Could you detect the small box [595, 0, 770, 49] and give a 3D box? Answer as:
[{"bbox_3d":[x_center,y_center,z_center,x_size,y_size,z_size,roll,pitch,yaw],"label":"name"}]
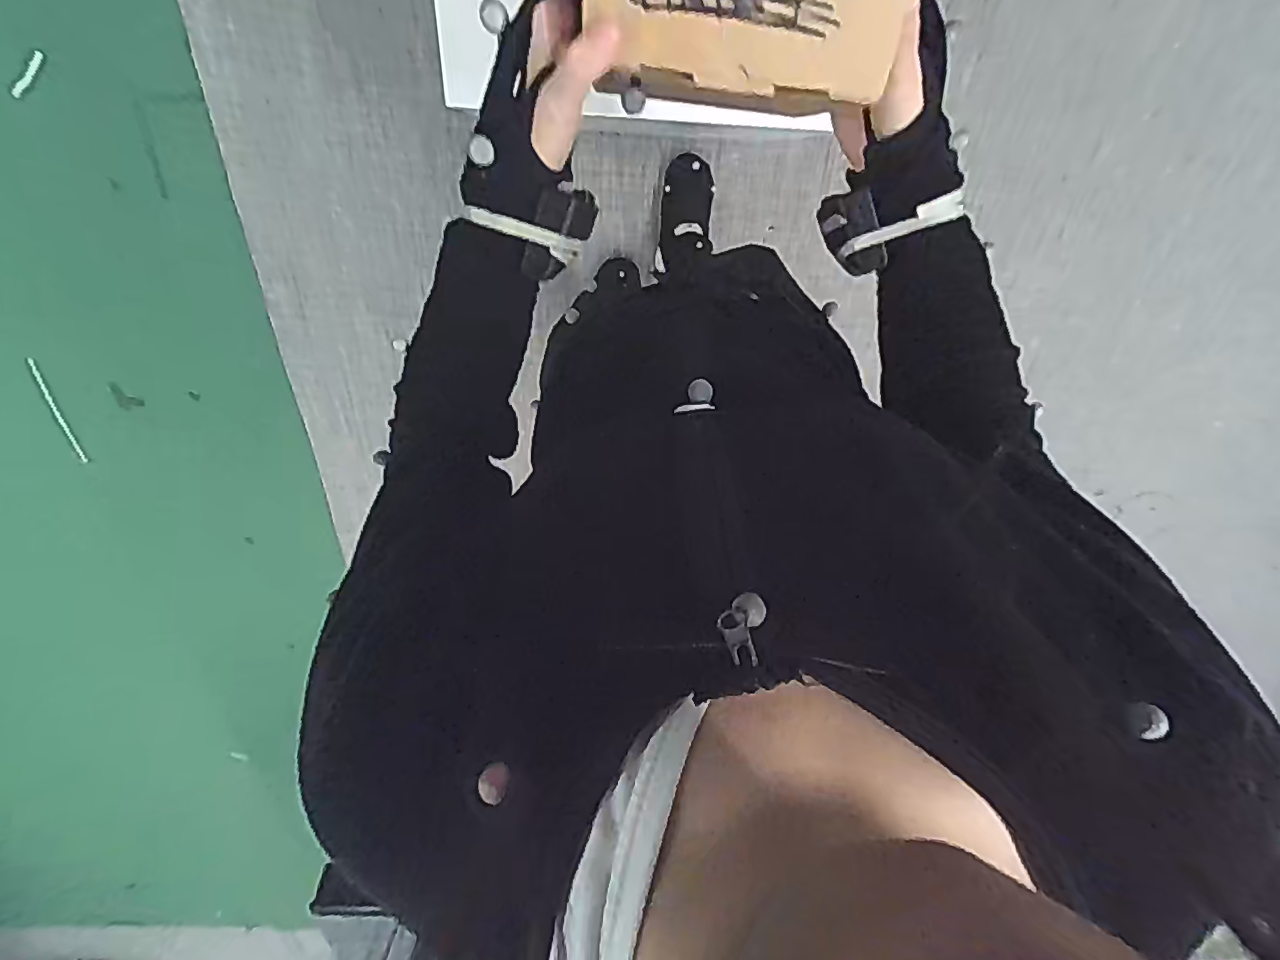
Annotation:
[{"bbox_3d":[0.040,-0.540,0.508,0.168,0.176,0.179,4,120,-4],"label":"small box"}]
